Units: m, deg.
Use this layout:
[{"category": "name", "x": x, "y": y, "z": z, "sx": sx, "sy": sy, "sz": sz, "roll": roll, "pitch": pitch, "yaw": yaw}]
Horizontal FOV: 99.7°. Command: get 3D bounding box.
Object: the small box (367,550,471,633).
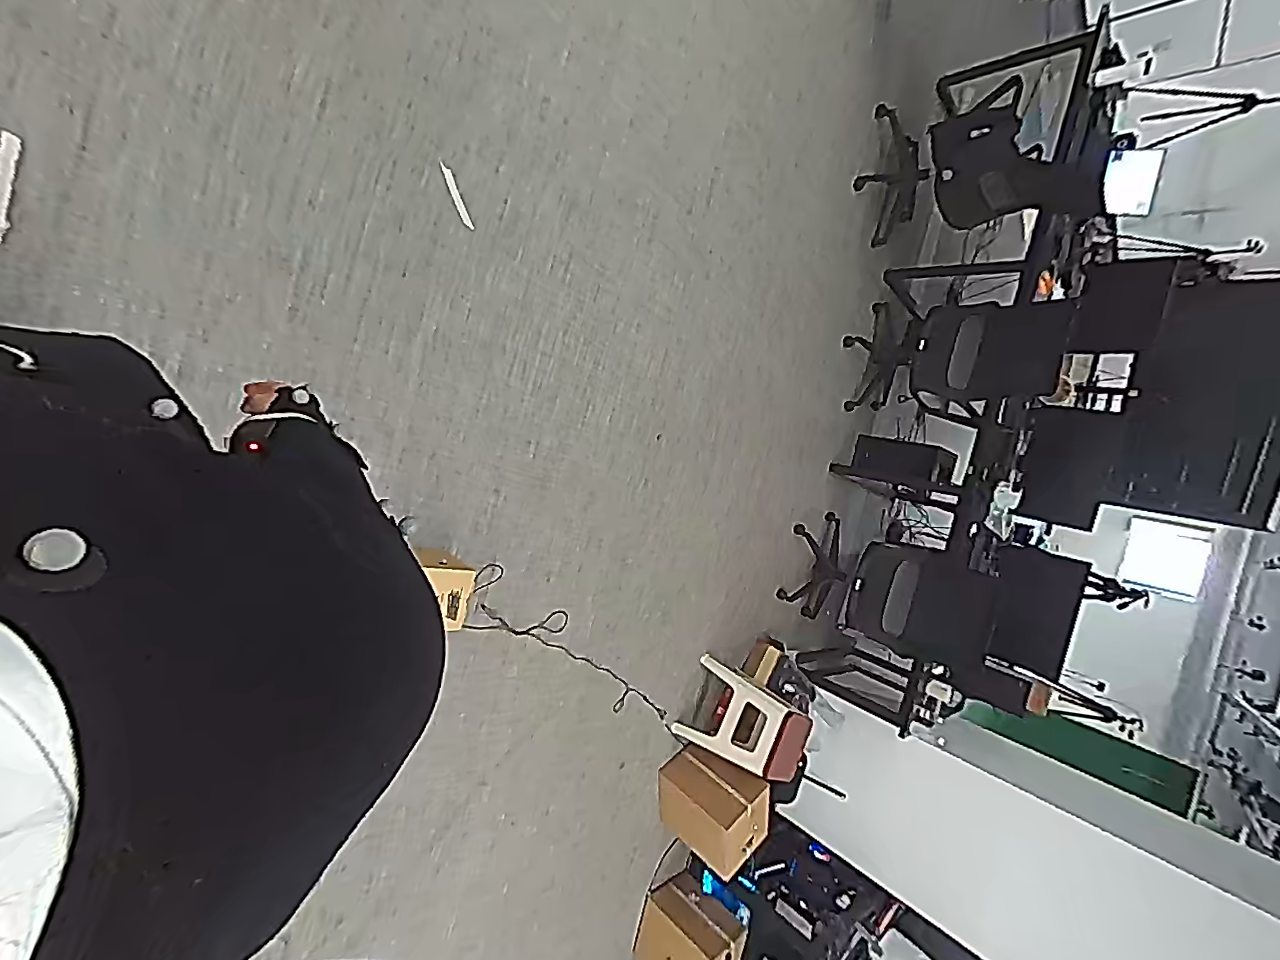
[{"category": "small box", "x": -0.574, "y": 0.287, "z": 1.403, "sx": 0.179, "sy": 0.176, "sz": 0.168, "roll": 15, "pitch": 90, "yaw": -46}]
